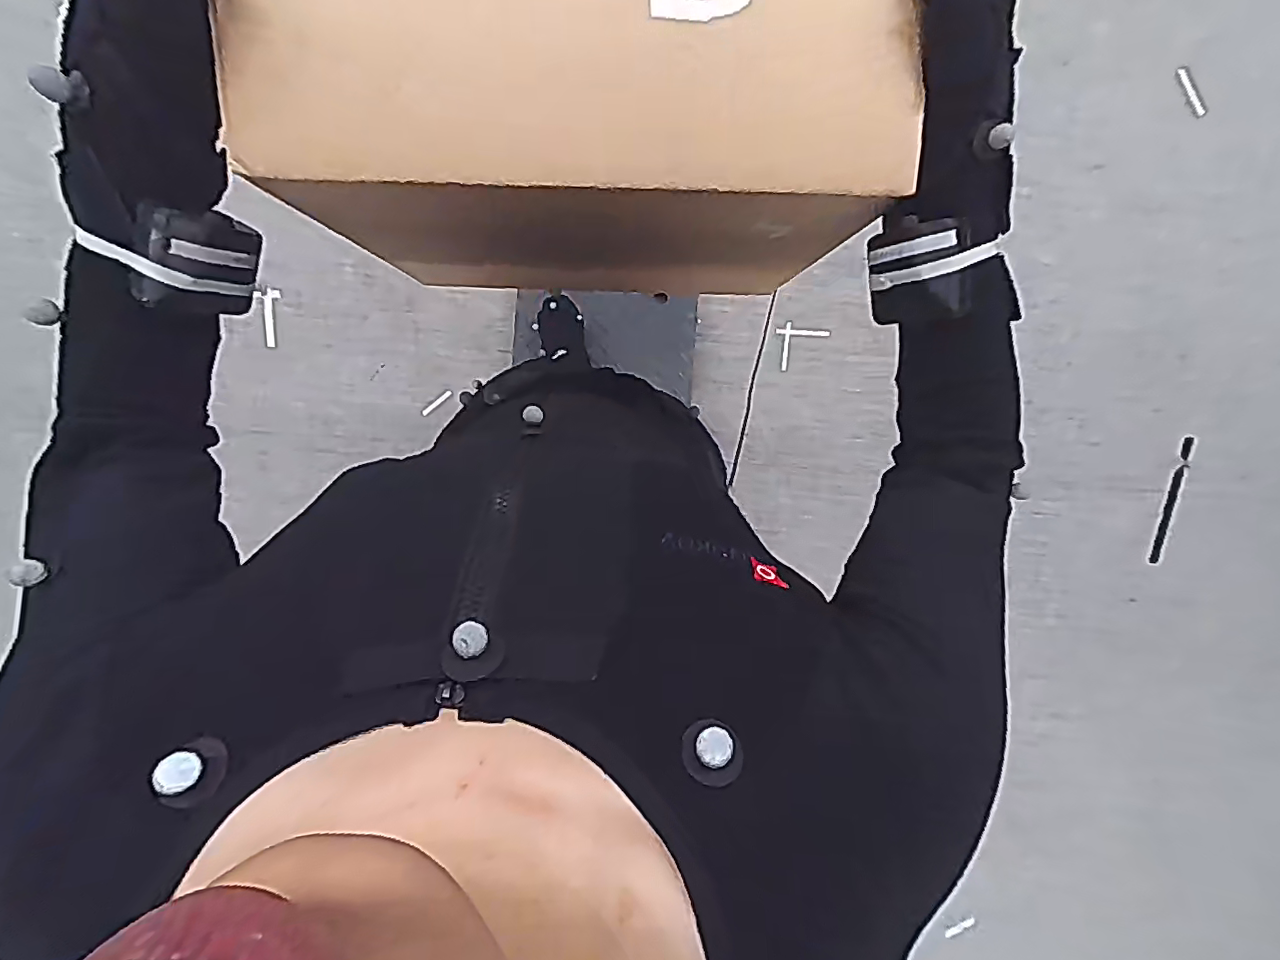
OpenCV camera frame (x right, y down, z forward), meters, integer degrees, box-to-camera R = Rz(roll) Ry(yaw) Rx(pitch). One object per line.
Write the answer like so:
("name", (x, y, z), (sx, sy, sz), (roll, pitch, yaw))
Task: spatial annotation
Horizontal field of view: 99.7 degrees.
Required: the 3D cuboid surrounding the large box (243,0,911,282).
("large box", (-0.040, -0.362, 0.461), (0.408, 0.320, 0.320), (0, 99, -3))
